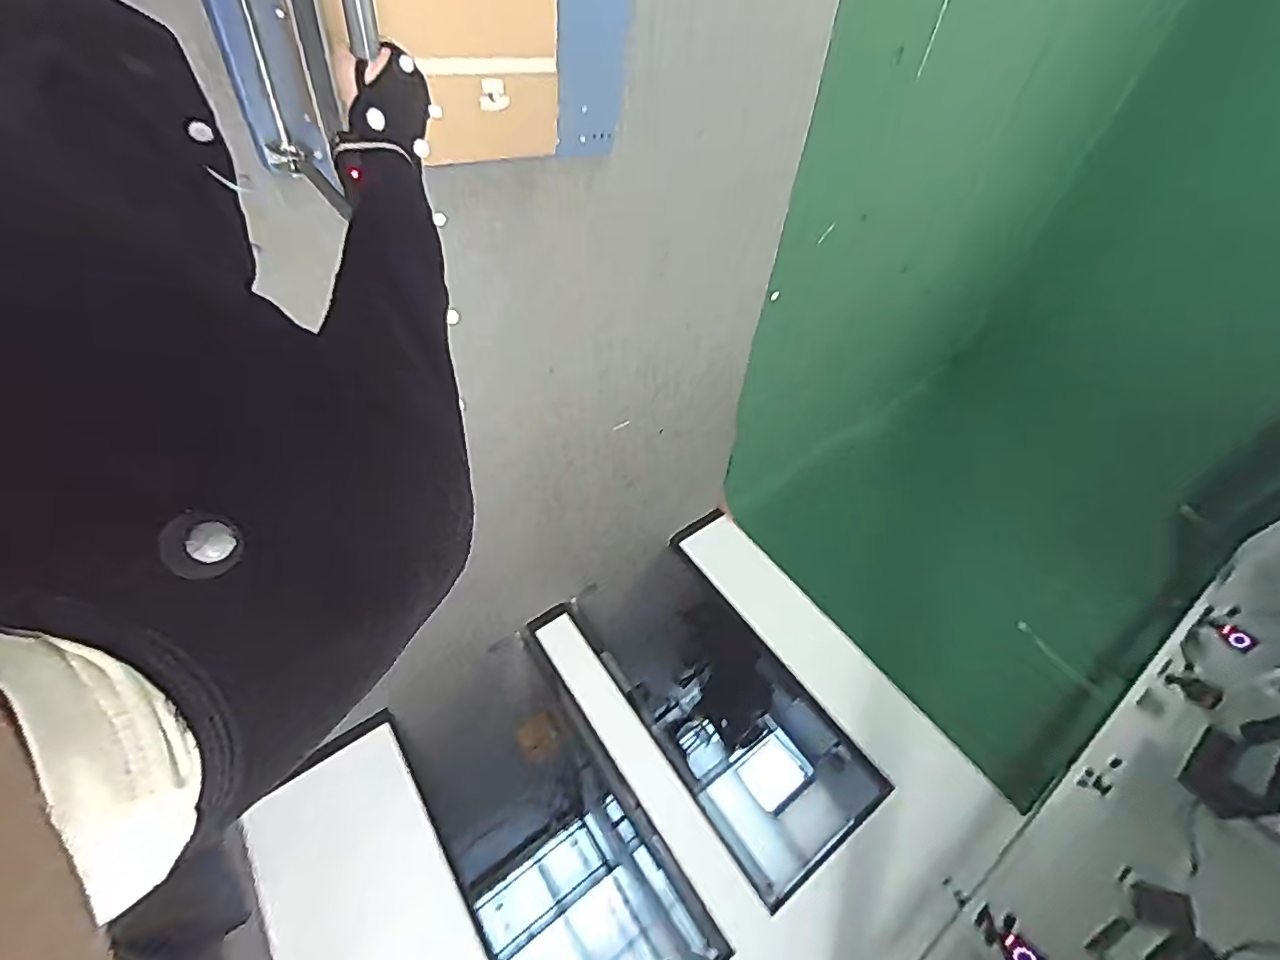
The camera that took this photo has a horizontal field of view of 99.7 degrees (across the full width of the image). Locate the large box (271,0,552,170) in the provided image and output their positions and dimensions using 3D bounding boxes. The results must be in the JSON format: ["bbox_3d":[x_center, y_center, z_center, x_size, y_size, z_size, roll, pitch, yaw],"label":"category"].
[{"bbox_3d":[-0.416,-0.817,1.002,0.408,0.320,0.320,-25,147,-28],"label":"large box"}]
